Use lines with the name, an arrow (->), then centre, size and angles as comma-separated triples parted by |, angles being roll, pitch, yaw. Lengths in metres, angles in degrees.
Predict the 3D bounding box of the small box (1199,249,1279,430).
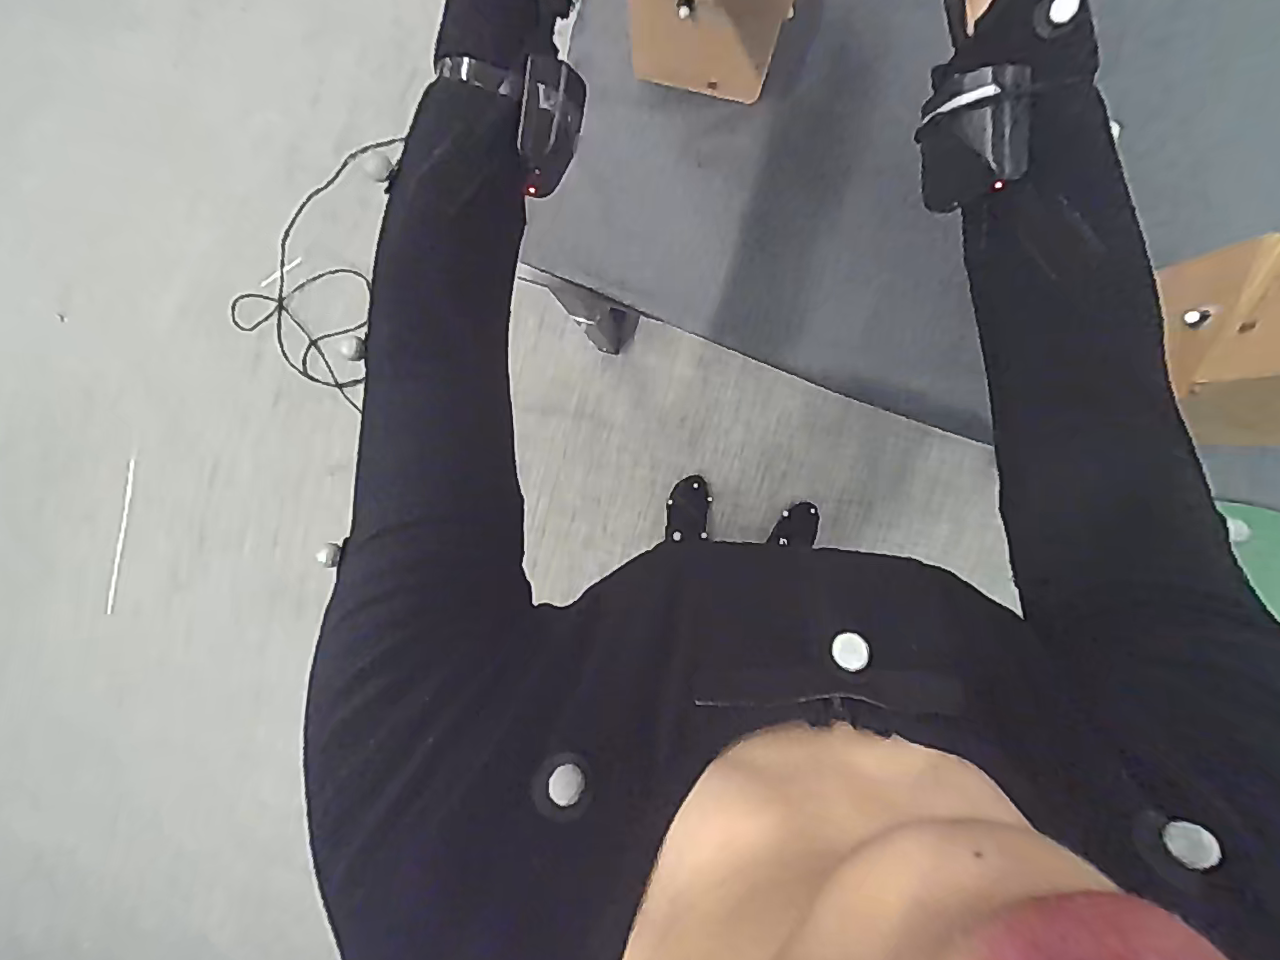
small box -> 0.668, -0.122, 0.460 | 0.179, 0.176, 0.168 | 29, 95, 2

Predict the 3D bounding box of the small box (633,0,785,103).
small box -> 0.086, -0.580, 0.612 | 0.168, 0.176, 0.179 | 13, 96, 1
